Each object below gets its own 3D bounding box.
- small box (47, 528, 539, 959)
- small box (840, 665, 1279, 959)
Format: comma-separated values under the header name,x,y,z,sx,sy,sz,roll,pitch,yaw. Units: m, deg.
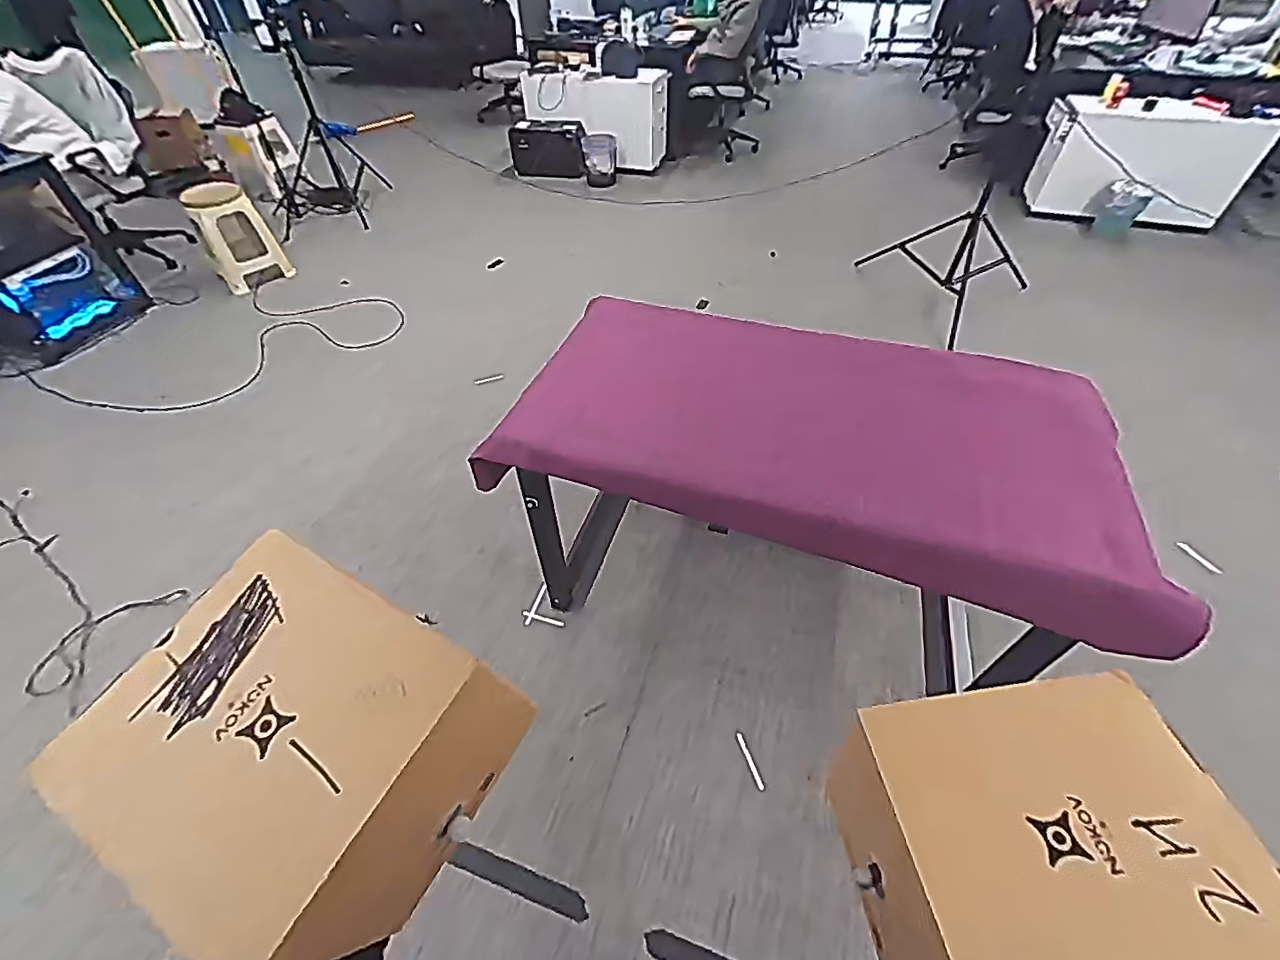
name,x,y,z,sx,sy,sz,roll,pitch,yaw
small box,-0.193,0.167,0.360,0.179,0.176,0.168,26,64,17
small box,0.242,0.244,0.348,0.179,0.176,0.168,-9,46,1
